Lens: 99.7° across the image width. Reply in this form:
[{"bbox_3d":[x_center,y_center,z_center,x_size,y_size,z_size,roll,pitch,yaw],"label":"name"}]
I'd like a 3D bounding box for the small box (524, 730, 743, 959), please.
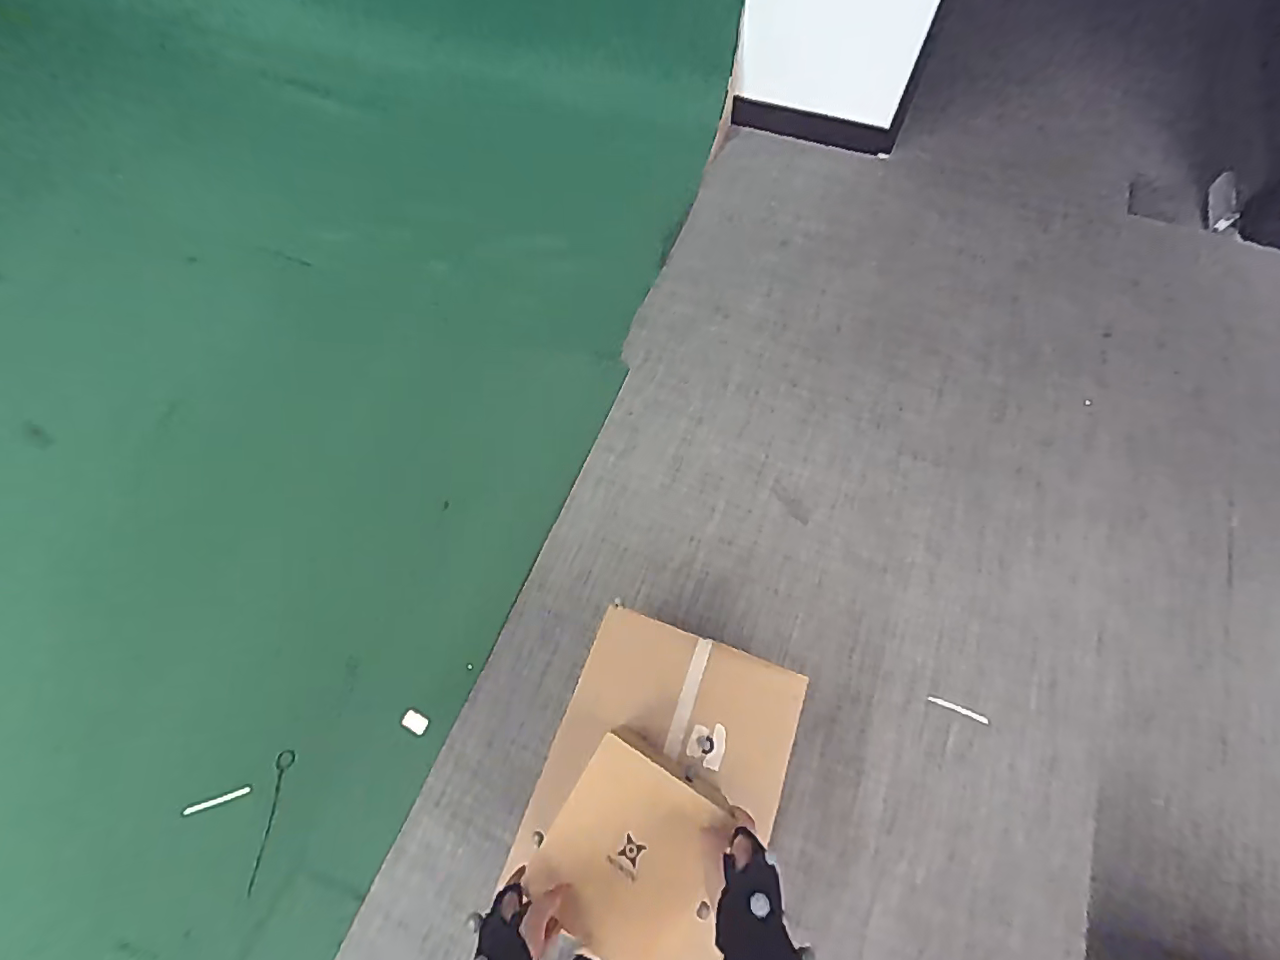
[{"bbox_3d":[-0.003,0.414,0.624,0.168,0.176,0.179,29,74,13],"label":"small box"}]

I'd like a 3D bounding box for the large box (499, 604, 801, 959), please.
[{"bbox_3d":[0.032,0.468,0.872,0.320,0.320,0.408,19,69,10],"label":"large box"}]
